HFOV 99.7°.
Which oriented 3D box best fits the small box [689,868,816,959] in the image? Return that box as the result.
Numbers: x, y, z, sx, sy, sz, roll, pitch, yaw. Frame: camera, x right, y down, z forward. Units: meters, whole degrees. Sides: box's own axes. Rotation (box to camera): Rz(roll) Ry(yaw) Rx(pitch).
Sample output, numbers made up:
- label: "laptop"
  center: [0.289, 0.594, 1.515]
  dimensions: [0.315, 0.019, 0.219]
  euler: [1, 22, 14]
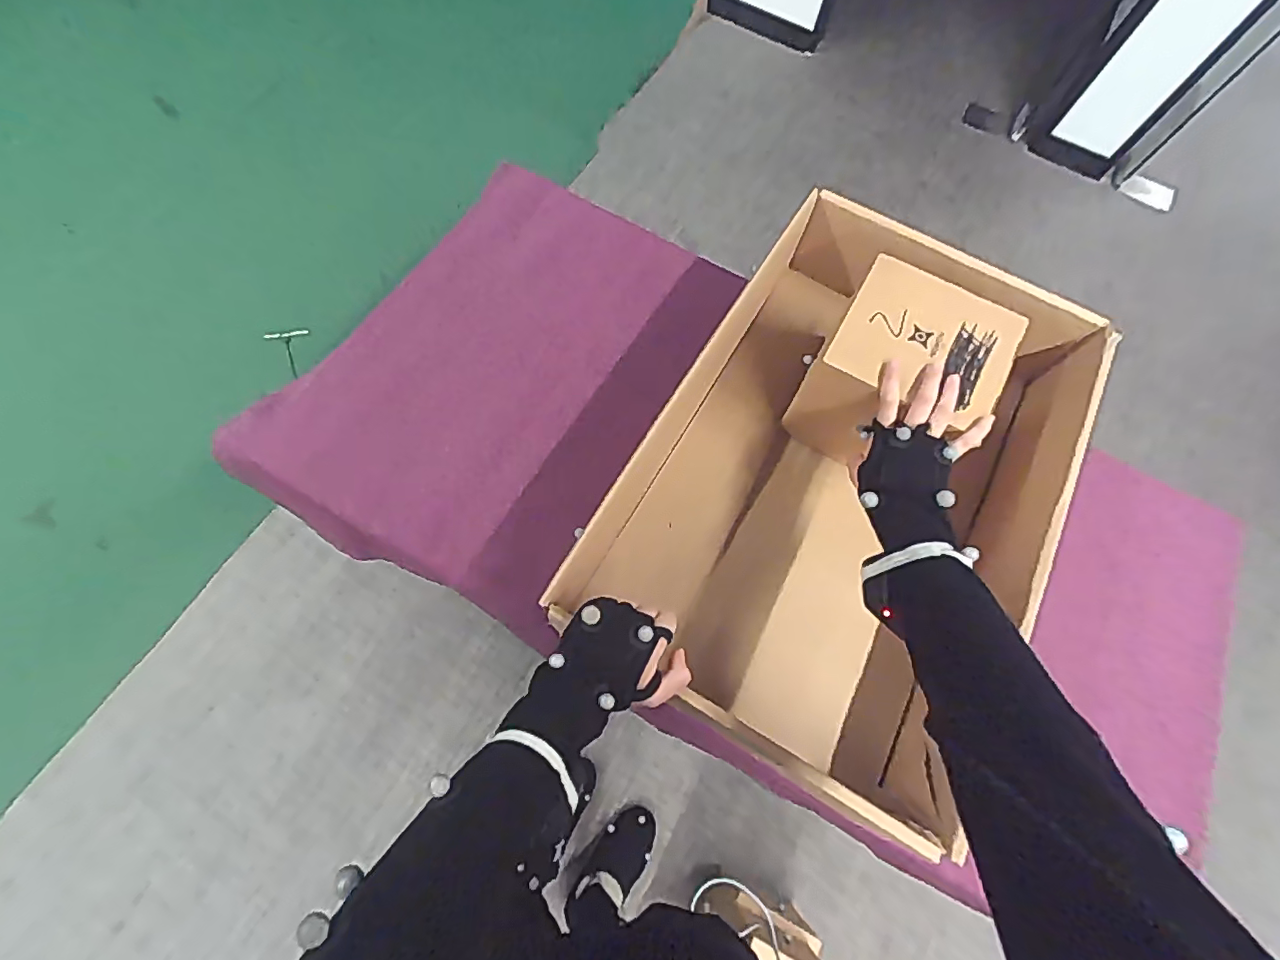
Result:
- label: "small box"
  center: [0.217, 0.923, 1.081]
  dimensions: [0.179, 0.176, 0.168]
  euler: [28, 70, 7]
